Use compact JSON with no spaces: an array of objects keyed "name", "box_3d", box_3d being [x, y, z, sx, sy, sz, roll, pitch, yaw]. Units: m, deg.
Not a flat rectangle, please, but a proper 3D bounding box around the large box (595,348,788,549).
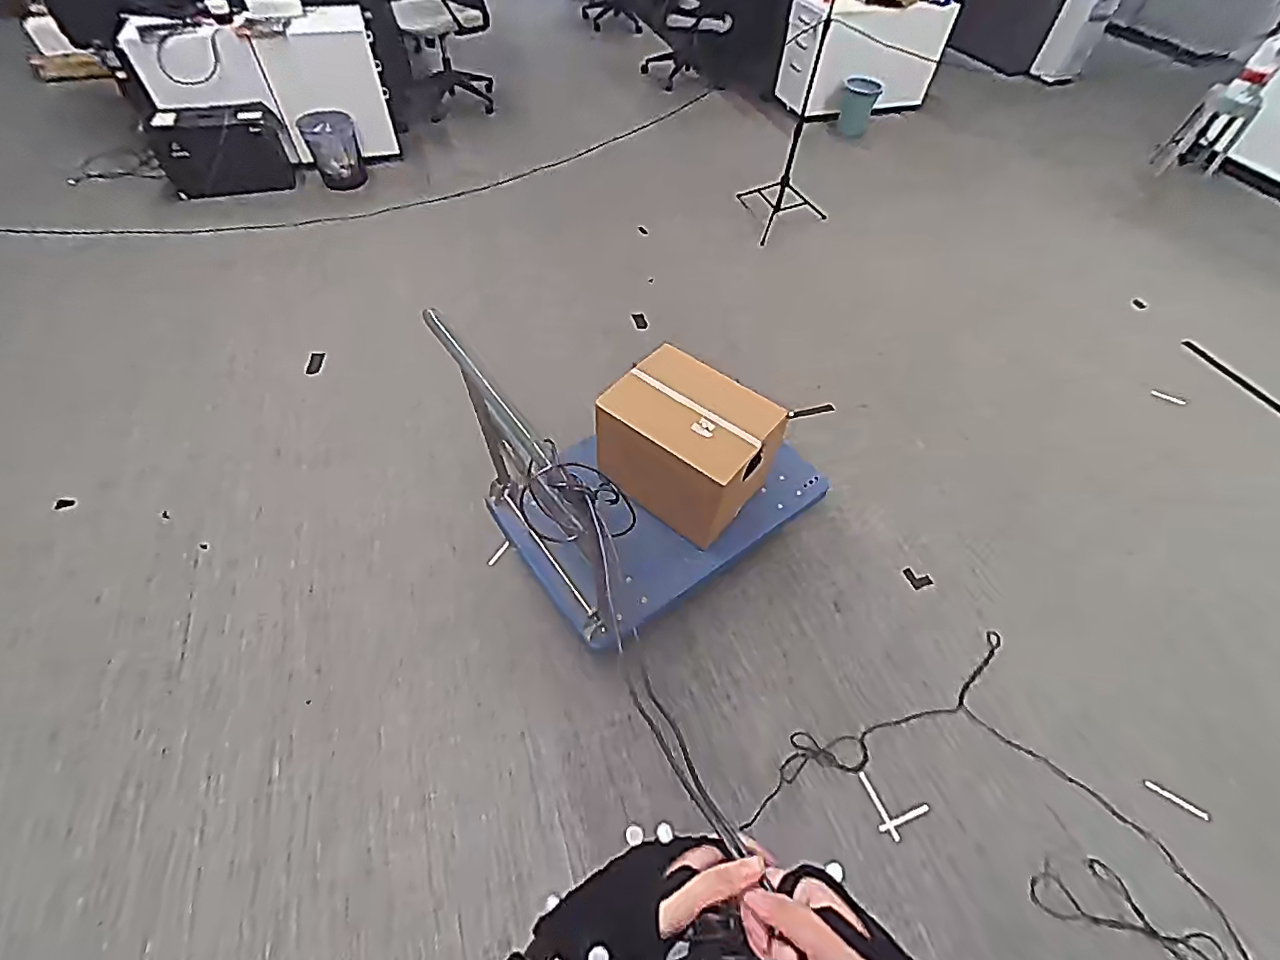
[{"name":"large box","box_3d":[0.122,-0.088,1.487,0.408,0.320,0.320,34,60,19]}]
